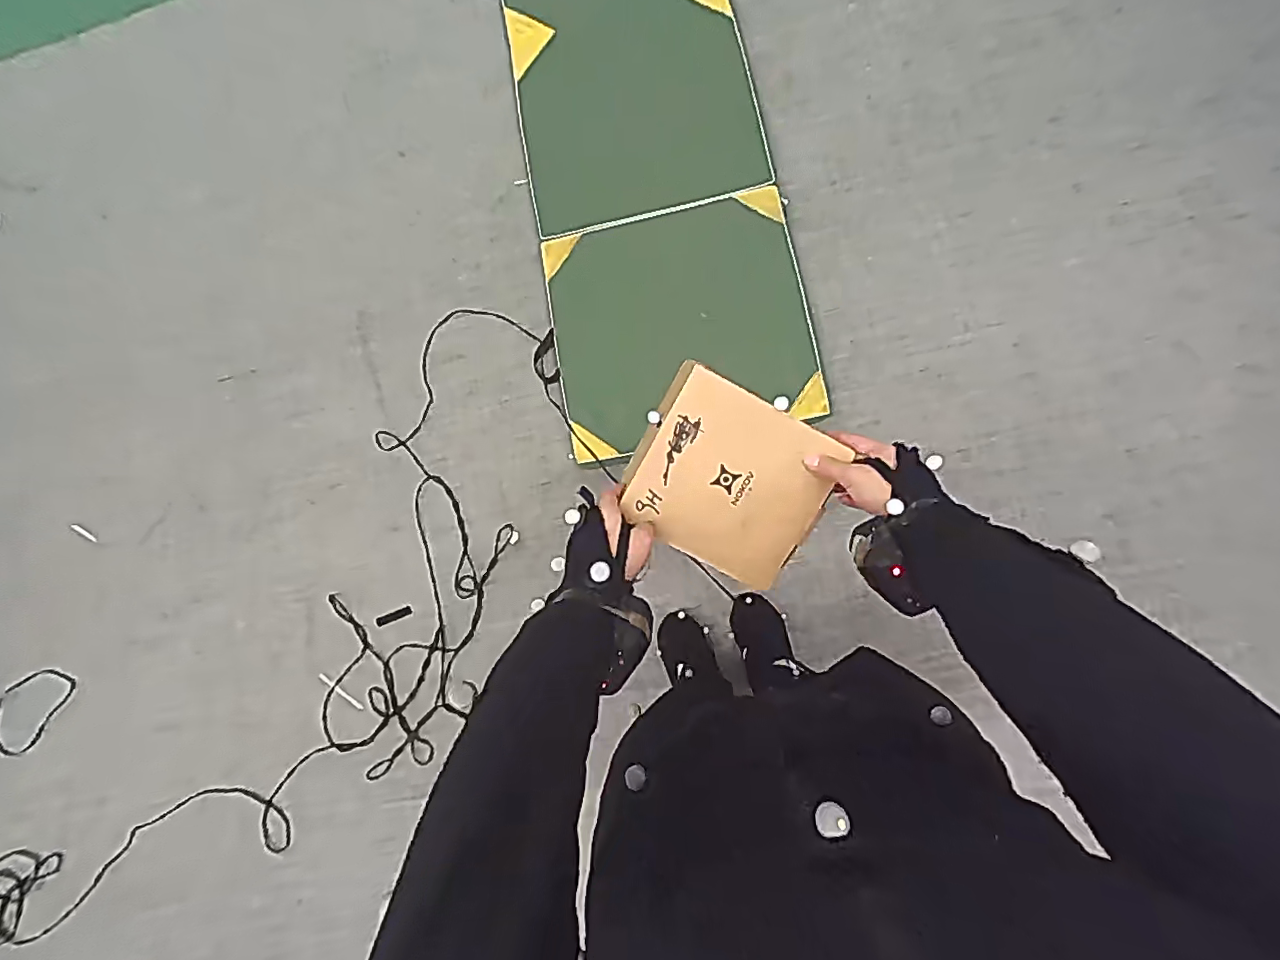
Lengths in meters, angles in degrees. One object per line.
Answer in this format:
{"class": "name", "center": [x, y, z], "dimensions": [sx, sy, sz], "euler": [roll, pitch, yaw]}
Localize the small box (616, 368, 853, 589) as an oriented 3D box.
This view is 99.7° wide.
{"class": "small box", "center": [0.092, -0.016, 0.598], "dimensions": [0.179, 0.176, 0.168], "euler": [28, 102, -5]}
